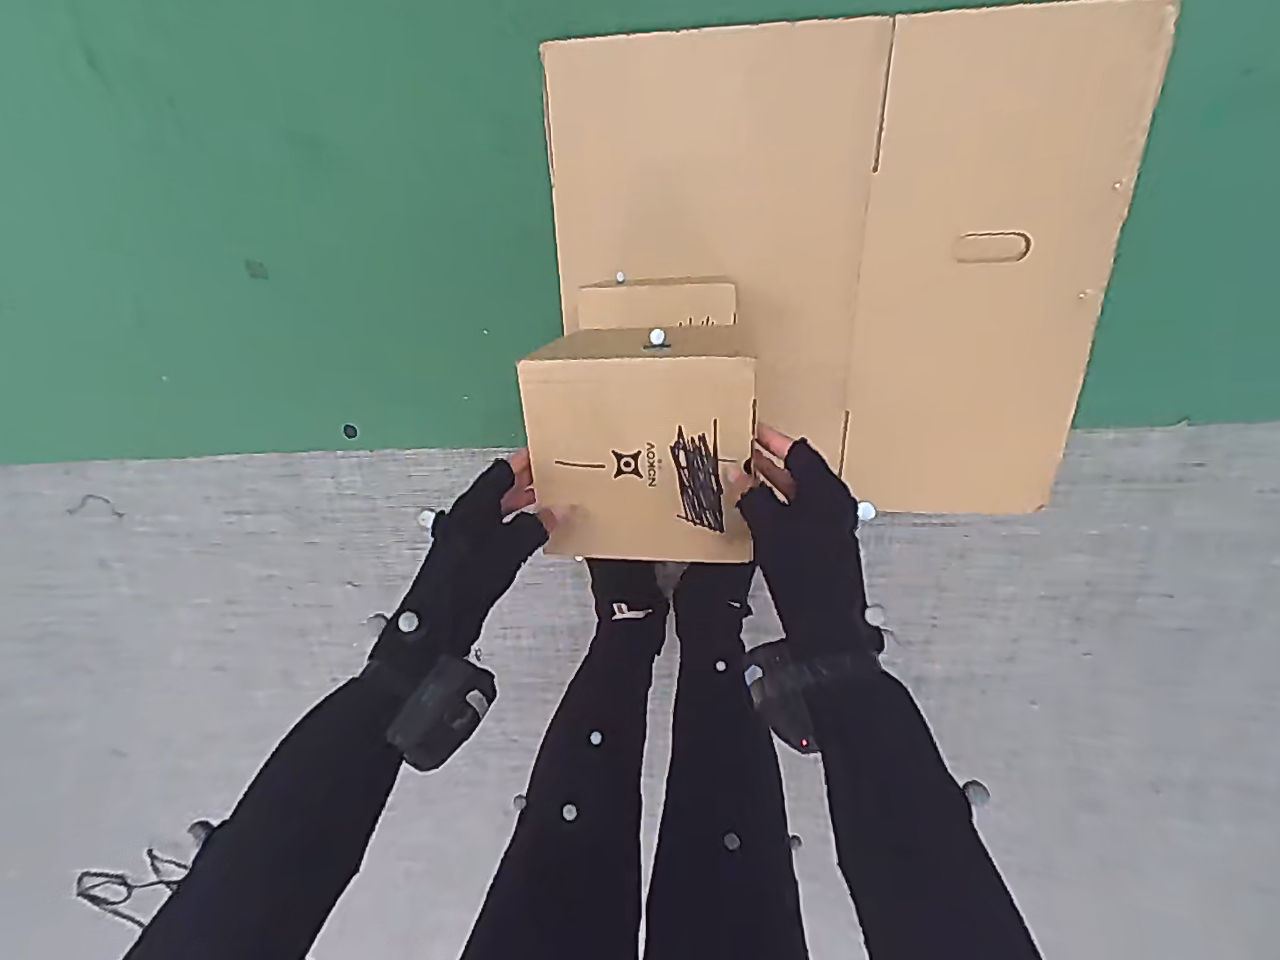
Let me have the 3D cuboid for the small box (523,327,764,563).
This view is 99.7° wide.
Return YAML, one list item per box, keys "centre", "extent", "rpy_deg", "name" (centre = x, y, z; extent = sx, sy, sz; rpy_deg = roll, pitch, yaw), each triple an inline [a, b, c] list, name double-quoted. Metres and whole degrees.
- centre: [0.015, -0.042, 0.484]
  extent: [0.179, 0.176, 0.168]
  rpy_deg: [2, 113, 10]
  name: "small box"
